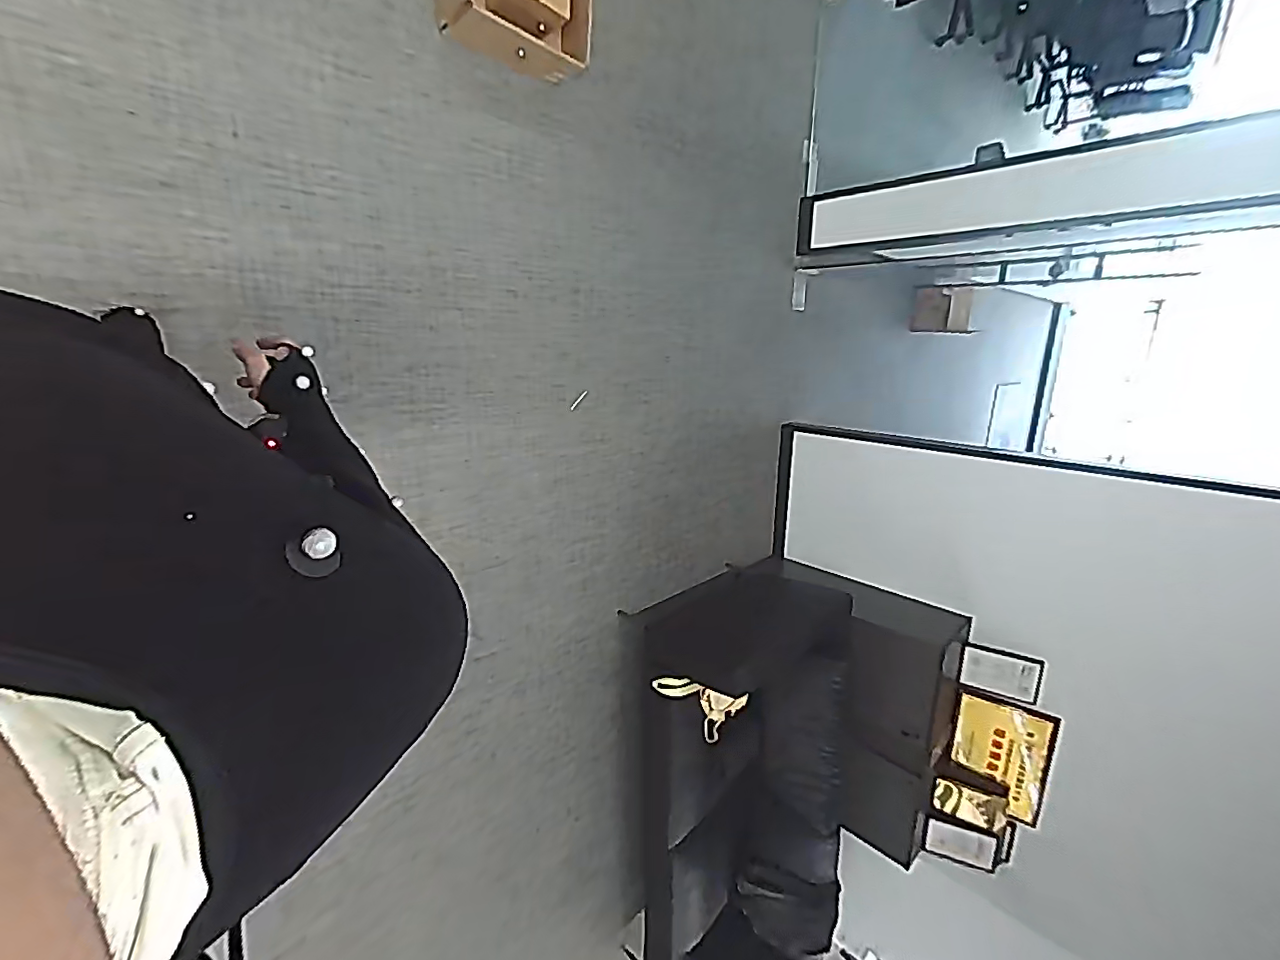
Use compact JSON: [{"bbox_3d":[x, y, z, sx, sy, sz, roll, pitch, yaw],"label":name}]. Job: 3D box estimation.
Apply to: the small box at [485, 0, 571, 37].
[{"bbox_3d":[-0.311,-1.382,1.505,0.179,0.176,0.168,-7,105,-44],"label":"small box"}]
